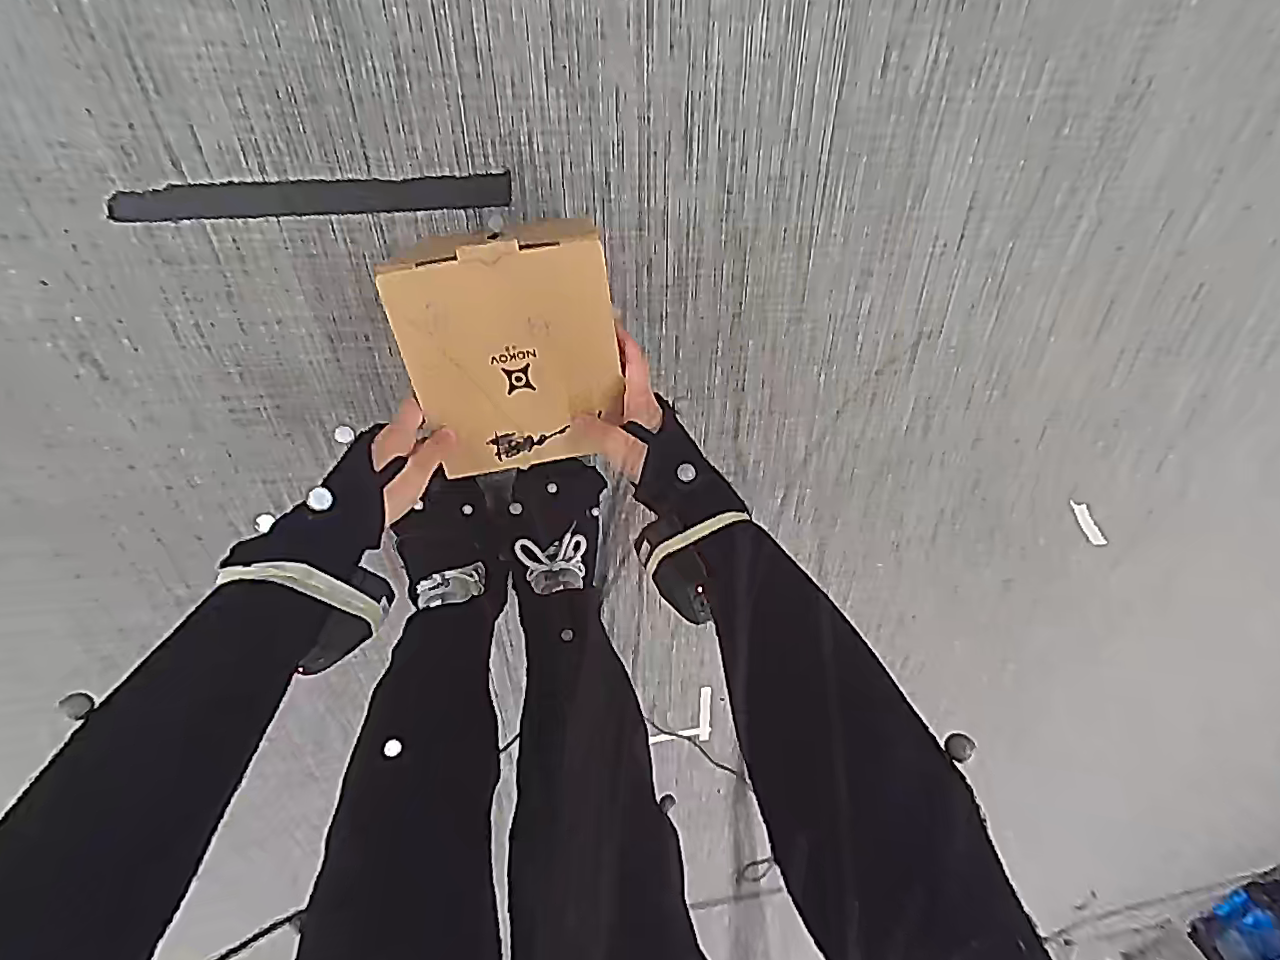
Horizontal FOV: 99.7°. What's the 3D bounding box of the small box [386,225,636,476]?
[{"bbox_3d":[-0.106,-0.130,0.499,0.168,0.176,0.179,-11,120,-4],"label":"small box"}]
